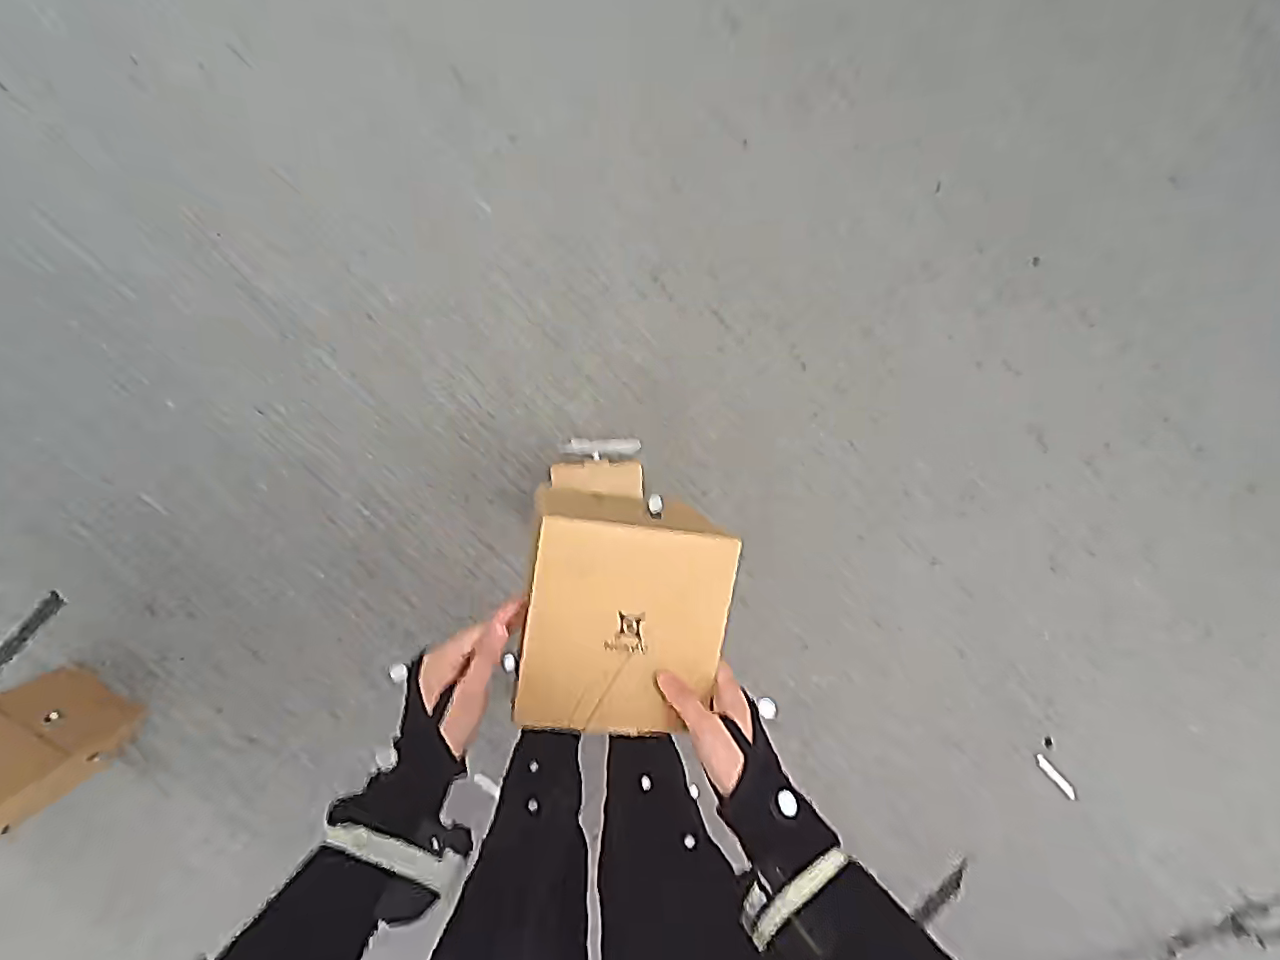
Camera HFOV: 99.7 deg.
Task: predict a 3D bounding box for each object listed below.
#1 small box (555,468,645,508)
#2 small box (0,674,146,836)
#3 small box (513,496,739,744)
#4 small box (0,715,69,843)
[{"bbox_3d":[-0.081,0.064,1.063,0.168,0.176,0.179,-2,93,-6],"label":"small box"},{"bbox_3d":[-1.094,0.494,1.001,0.179,0.176,0.168,40,89,-5],"label":"small box"},{"bbox_3d":[-0.025,0.118,0.511,0.168,0.176,0.179,8,97,-12],"label":"small box"},{"bbox_3d":[-1.075,0.500,0.837,0.179,0.176,0.168,41,89,-6],"label":"small box"}]
